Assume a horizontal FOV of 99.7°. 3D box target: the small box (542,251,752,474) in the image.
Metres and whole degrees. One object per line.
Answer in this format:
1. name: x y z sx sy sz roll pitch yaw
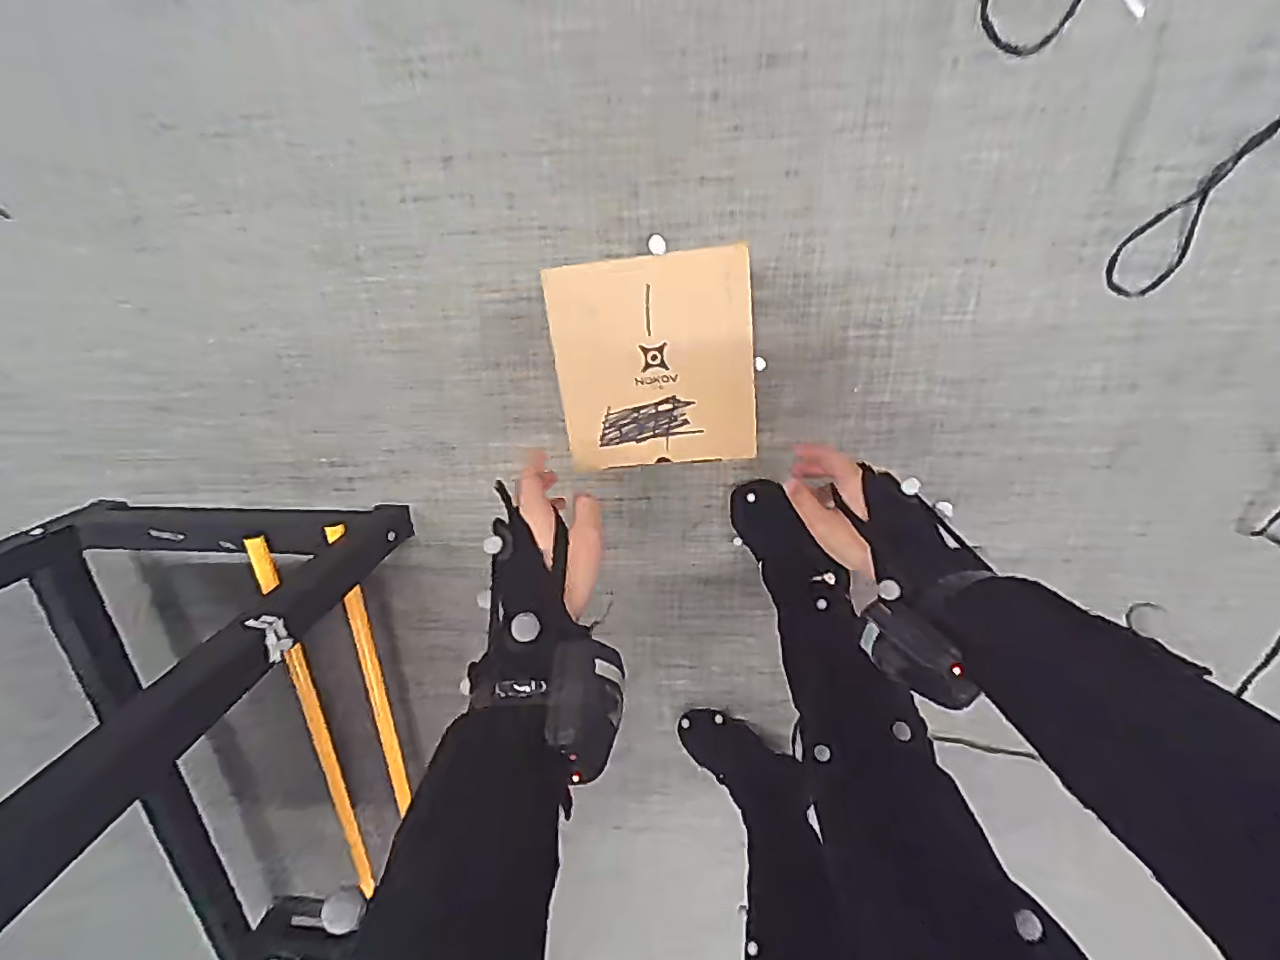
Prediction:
1. small box: 0.018 -0.119 0.525 0.168 0.176 0.179 -4 110 7
